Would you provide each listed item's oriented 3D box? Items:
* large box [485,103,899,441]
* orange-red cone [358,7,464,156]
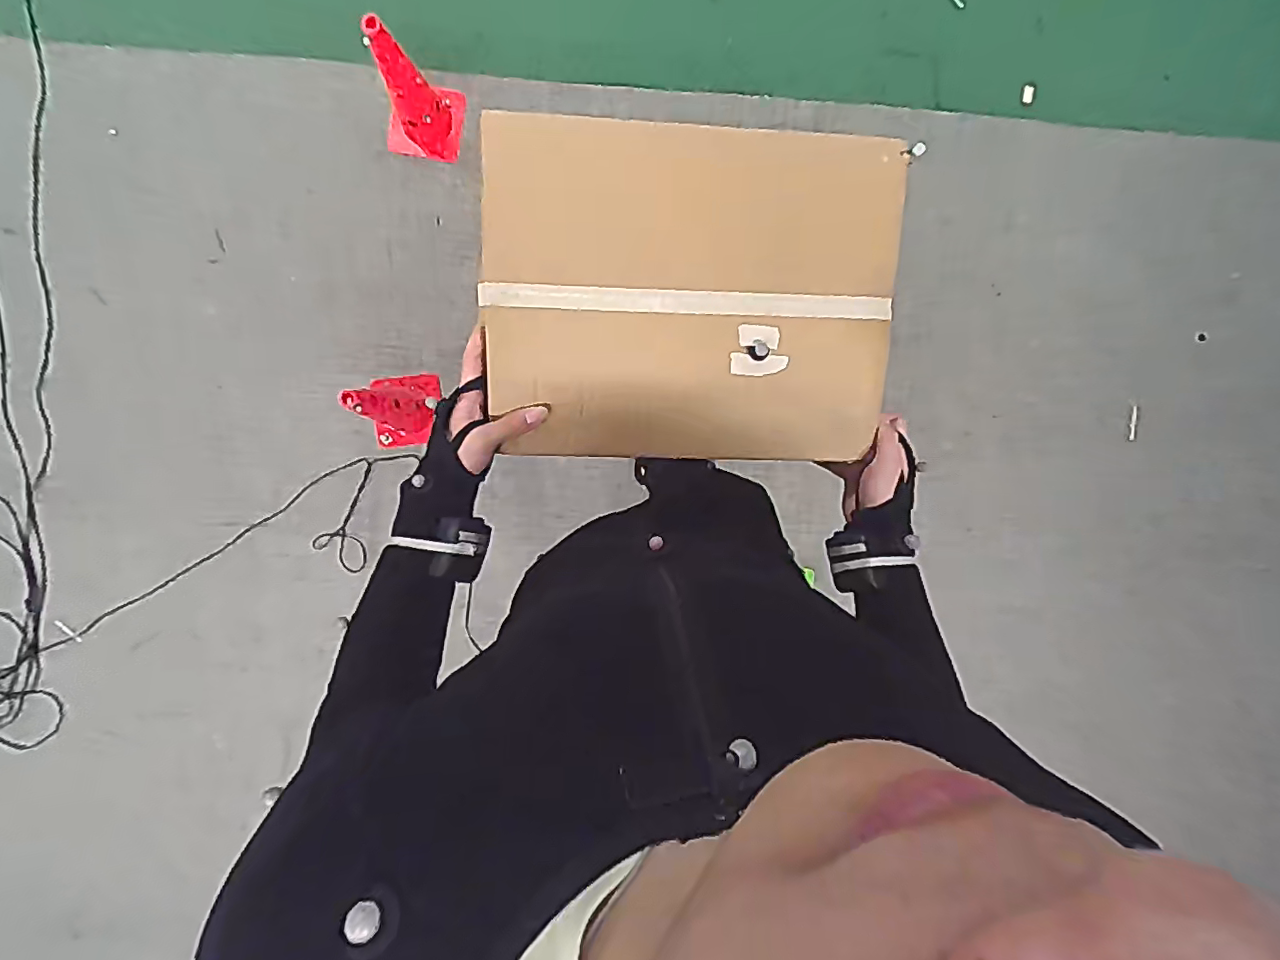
[{"bbox_3d":[0.040,-0.223,0.682,0.408,0.320,0.320,0,103,-5],"label":"large box"},{"bbox_3d":[-0.609,-1.025,1.363,0.199,0.360,0.198,11,91,-1],"label":"orange-red cone"}]
